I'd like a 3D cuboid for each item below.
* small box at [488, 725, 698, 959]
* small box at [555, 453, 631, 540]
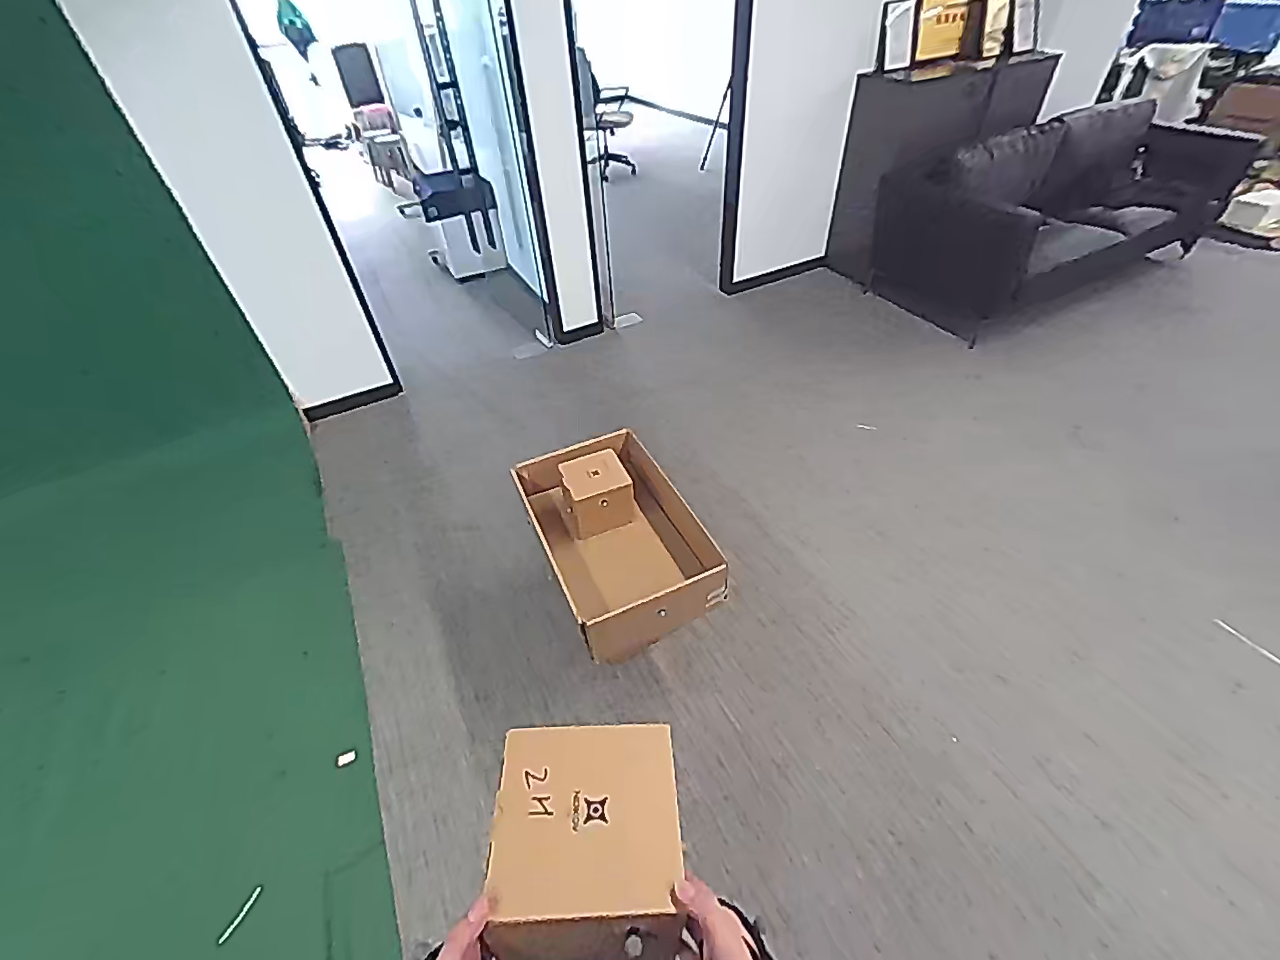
[{"bbox_3d":[-0.046,0.375,0.557,0.179,0.176,0.168,0,36,-4],"label":"small box"},{"bbox_3d":[-0.136,0.052,1.592,0.179,0.176,0.168,-16,46,-16],"label":"small box"}]
